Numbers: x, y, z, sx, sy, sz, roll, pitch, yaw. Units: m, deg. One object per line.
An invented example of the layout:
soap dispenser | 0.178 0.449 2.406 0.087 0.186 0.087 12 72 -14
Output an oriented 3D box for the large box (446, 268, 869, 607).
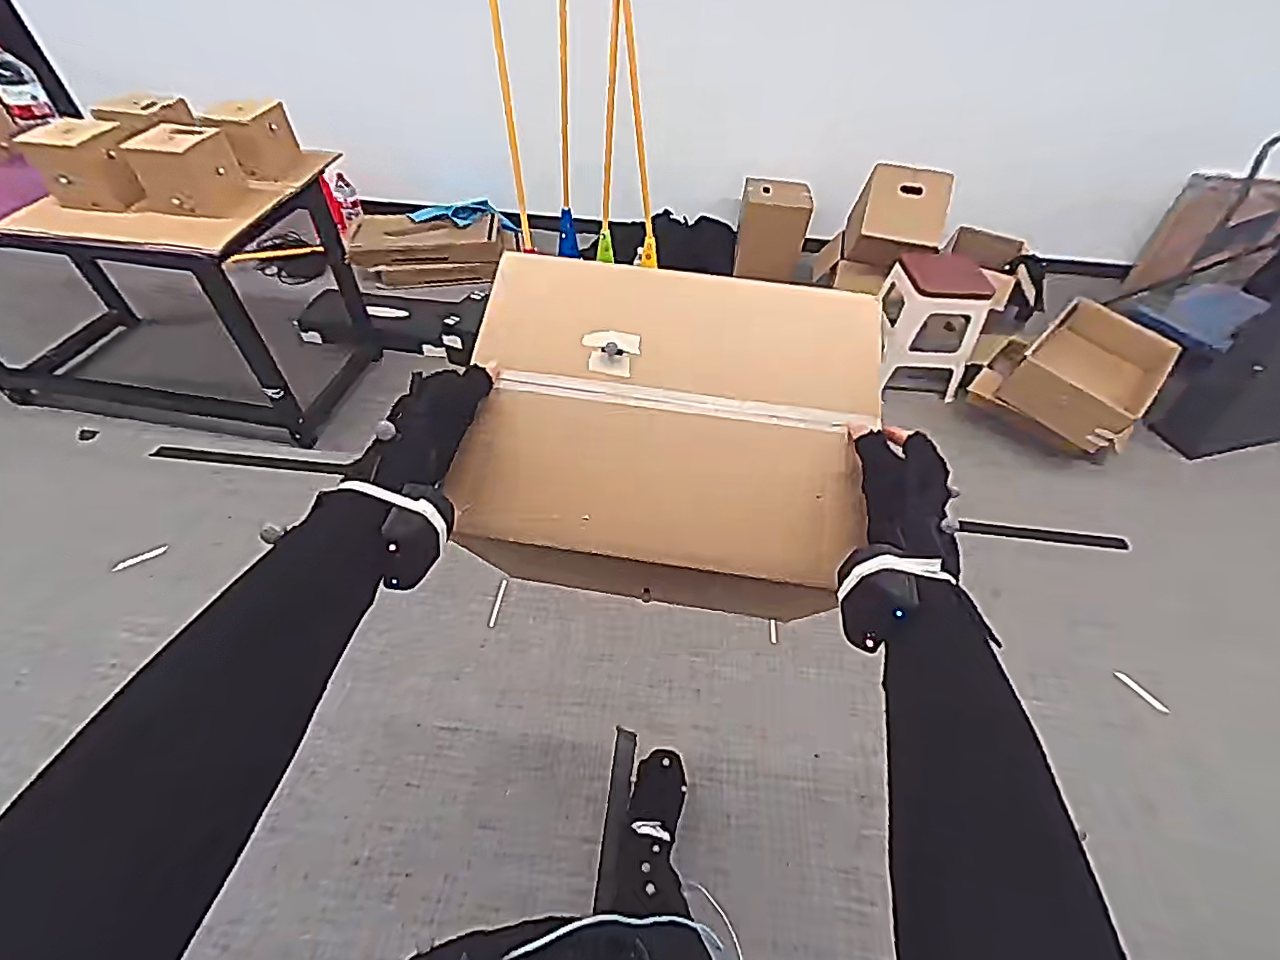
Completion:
large box | 0.035 -0.026 0.688 0.408 0.320 0.320 8 71 4
